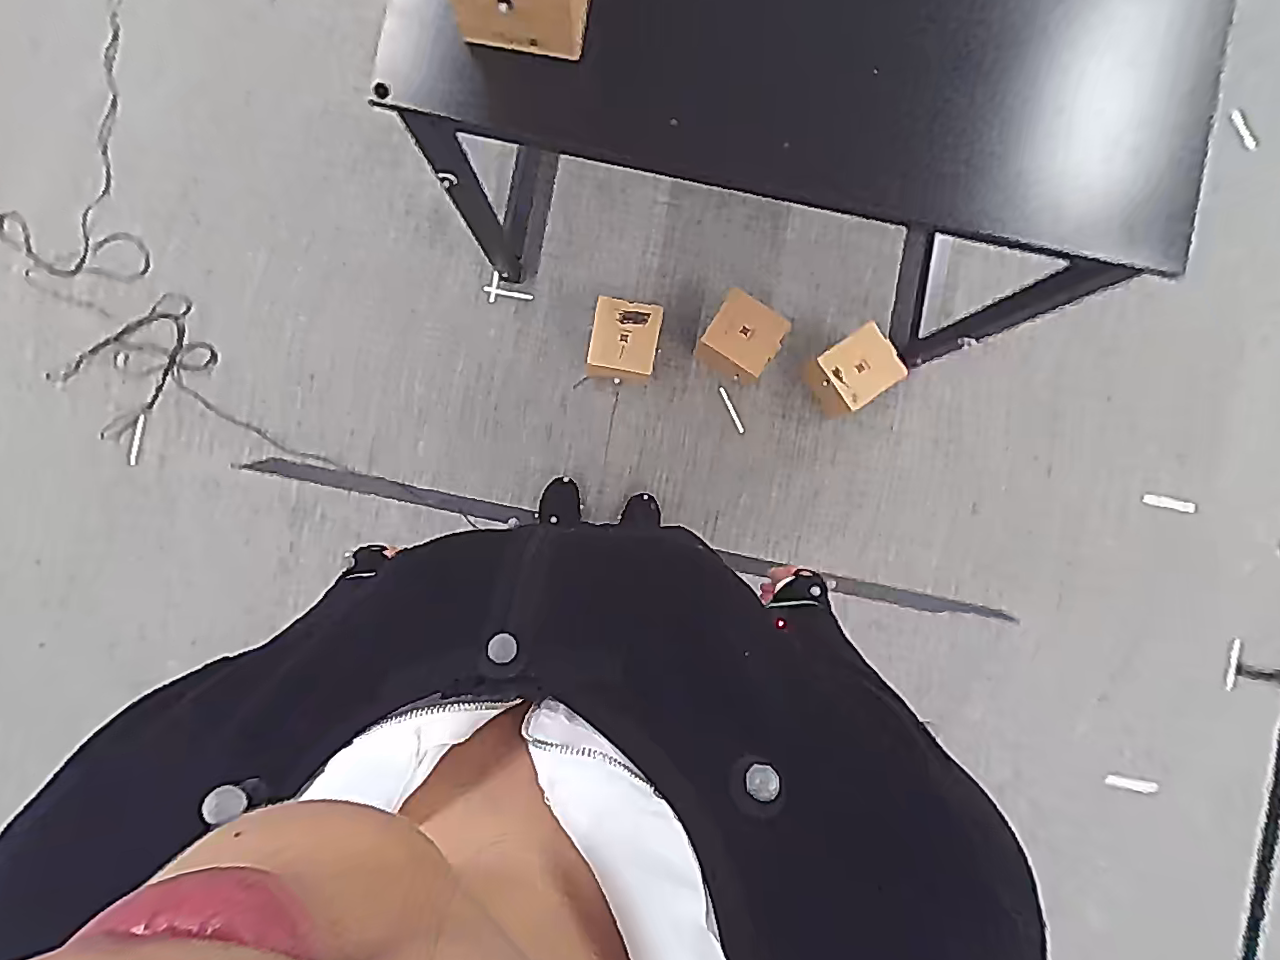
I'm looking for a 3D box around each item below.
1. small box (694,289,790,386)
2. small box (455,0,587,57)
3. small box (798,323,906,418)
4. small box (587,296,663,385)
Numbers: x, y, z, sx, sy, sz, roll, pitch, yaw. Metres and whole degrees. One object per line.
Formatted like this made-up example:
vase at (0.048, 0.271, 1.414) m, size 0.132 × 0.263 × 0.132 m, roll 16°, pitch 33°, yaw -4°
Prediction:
small box at (0.262, -0.366, 1.434) m, size 0.179 × 0.176 × 0.168 m, roll 33°, pitch 88°, yaw 0°
small box at (-0.152, -0.697, 0.693) m, size 0.168 × 0.176 × 0.179 m, roll 9°, pitch 89°, yaw -2°
small box at (0.553, -0.284, 1.437) m, size 0.179 × 0.176 × 0.168 m, roll -35°, pitch 90°, yaw -1°
small box at (-0.040, -0.361, 1.425) m, size 0.168 × 0.176 × 0.179 m, roll 11°, pitch 91°, yaw -1°
